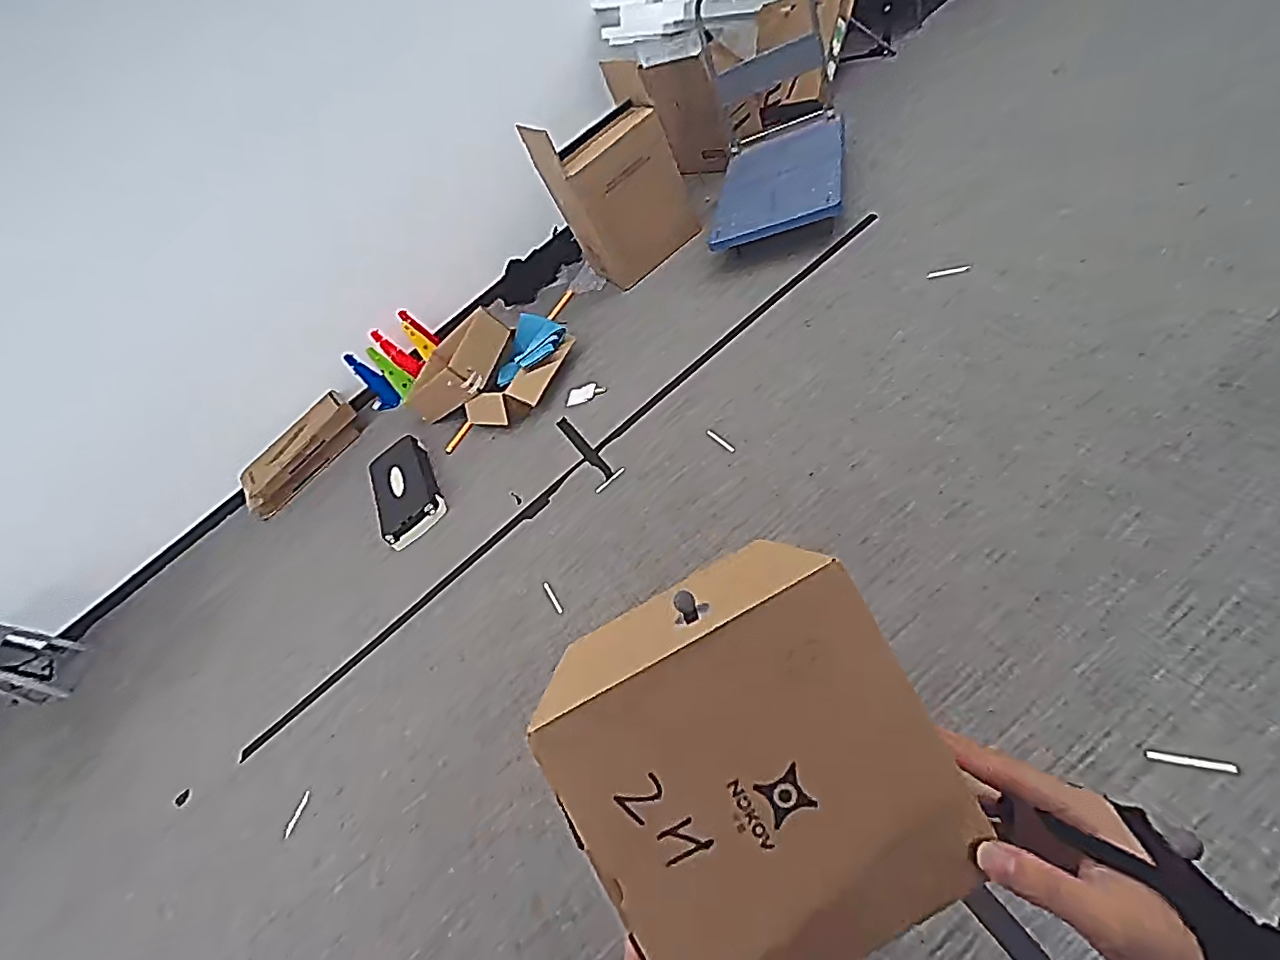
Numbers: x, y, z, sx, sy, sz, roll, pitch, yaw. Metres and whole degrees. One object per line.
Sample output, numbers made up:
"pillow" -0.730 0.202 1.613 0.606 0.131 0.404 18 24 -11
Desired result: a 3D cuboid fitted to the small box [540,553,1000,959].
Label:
"small box" 0.061 0.158 0.341 0.179 0.176 0.168 -29 87 -2
